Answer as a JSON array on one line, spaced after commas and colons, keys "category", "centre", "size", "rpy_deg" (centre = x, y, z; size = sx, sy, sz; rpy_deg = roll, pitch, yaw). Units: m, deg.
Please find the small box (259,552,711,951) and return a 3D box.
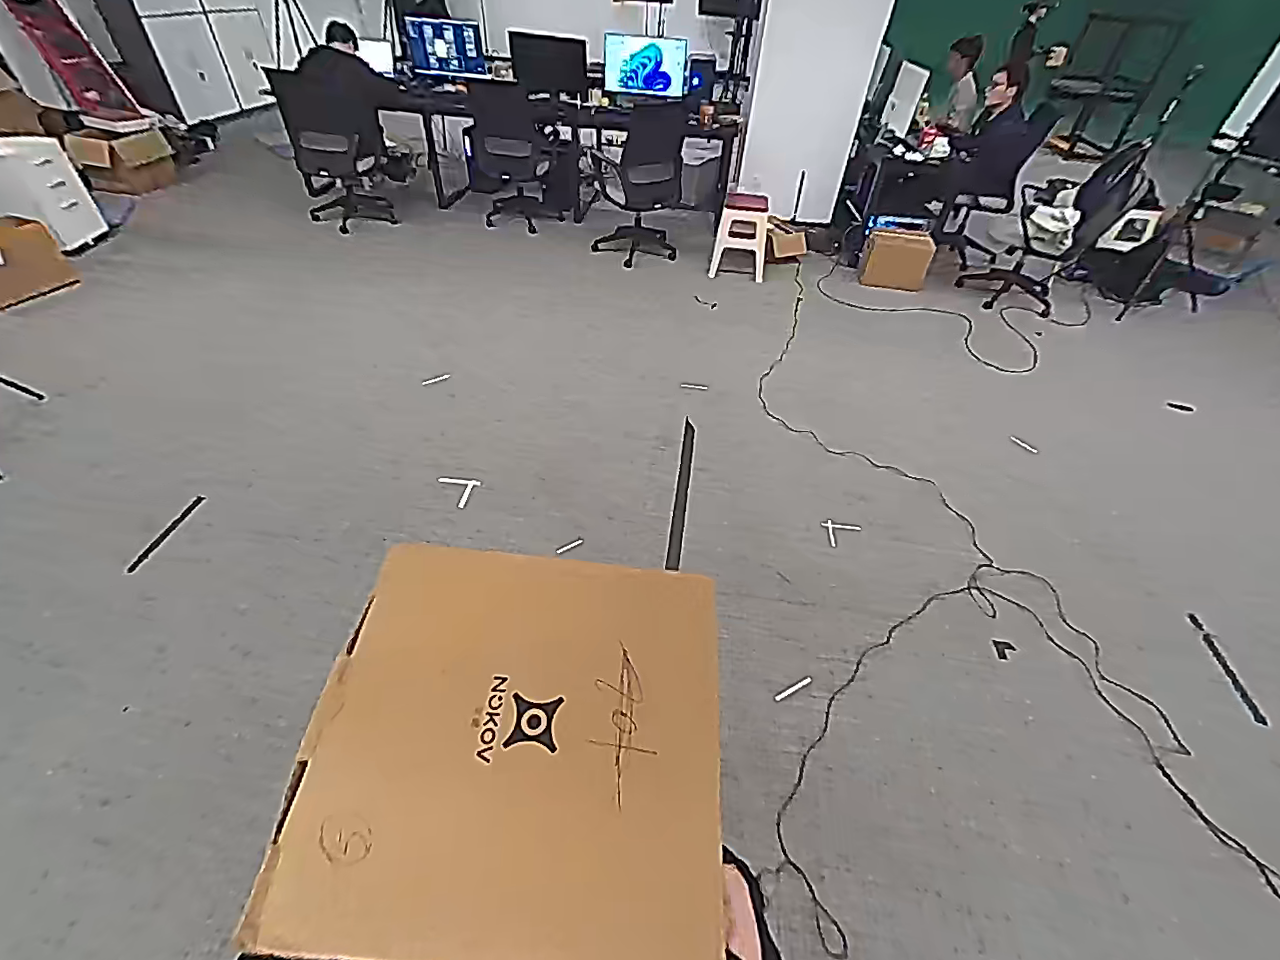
[{"category": "small box", "centre": [-0.062, 0.160, 0.317], "size": [0.179, 0.176, 0.168], "rpy_deg": [5, 52, -4]}]
